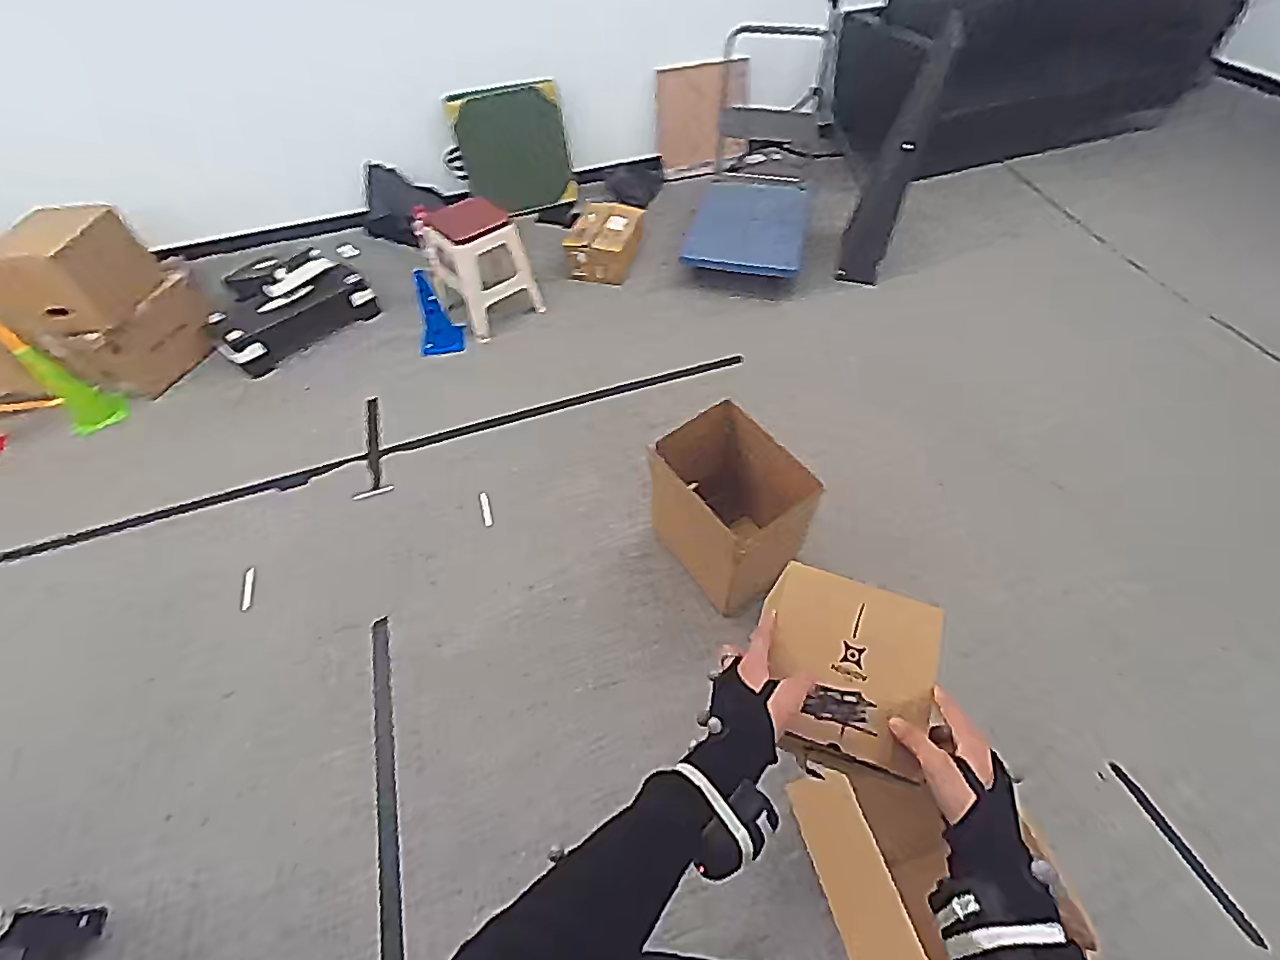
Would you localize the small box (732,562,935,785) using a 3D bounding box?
[{"bbox_3d":[0.208,0.223,0.617,0.168,0.176,0.179,17,63,11],"label":"small box"}]
